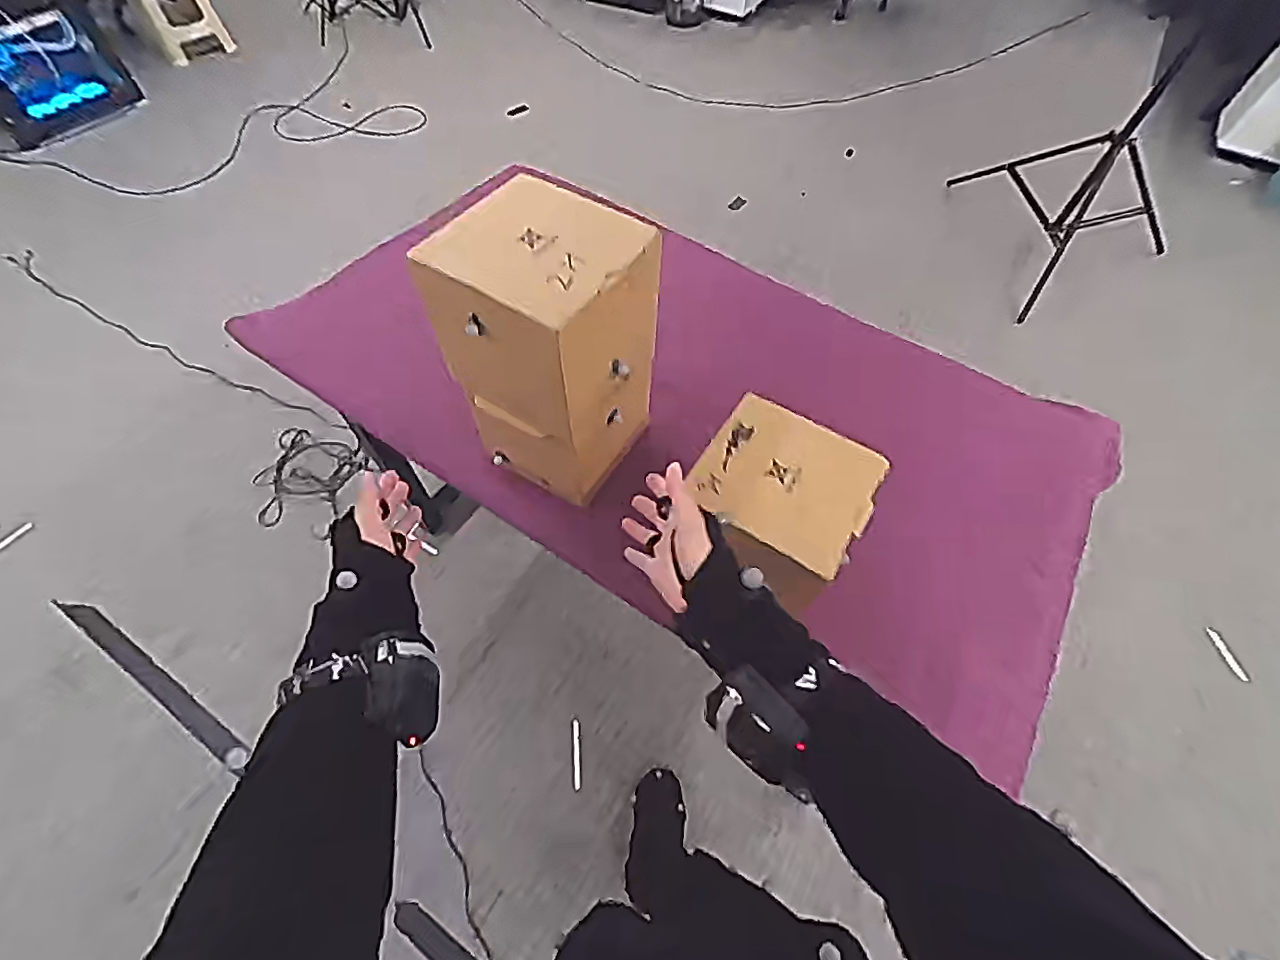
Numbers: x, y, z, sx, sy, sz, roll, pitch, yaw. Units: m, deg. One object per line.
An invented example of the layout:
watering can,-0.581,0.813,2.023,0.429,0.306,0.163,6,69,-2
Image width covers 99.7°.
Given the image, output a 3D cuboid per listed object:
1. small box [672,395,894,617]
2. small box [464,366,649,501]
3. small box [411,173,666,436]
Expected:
small box,0.154,0.040,0.634,0.179,0.176,0.168,31,63,15
small box,-0.095,-0.102,0.711,0.168,0.176,0.179,28,61,14
small box,-0.093,-0.175,0.562,0.179,0.176,0.168,30,63,15
